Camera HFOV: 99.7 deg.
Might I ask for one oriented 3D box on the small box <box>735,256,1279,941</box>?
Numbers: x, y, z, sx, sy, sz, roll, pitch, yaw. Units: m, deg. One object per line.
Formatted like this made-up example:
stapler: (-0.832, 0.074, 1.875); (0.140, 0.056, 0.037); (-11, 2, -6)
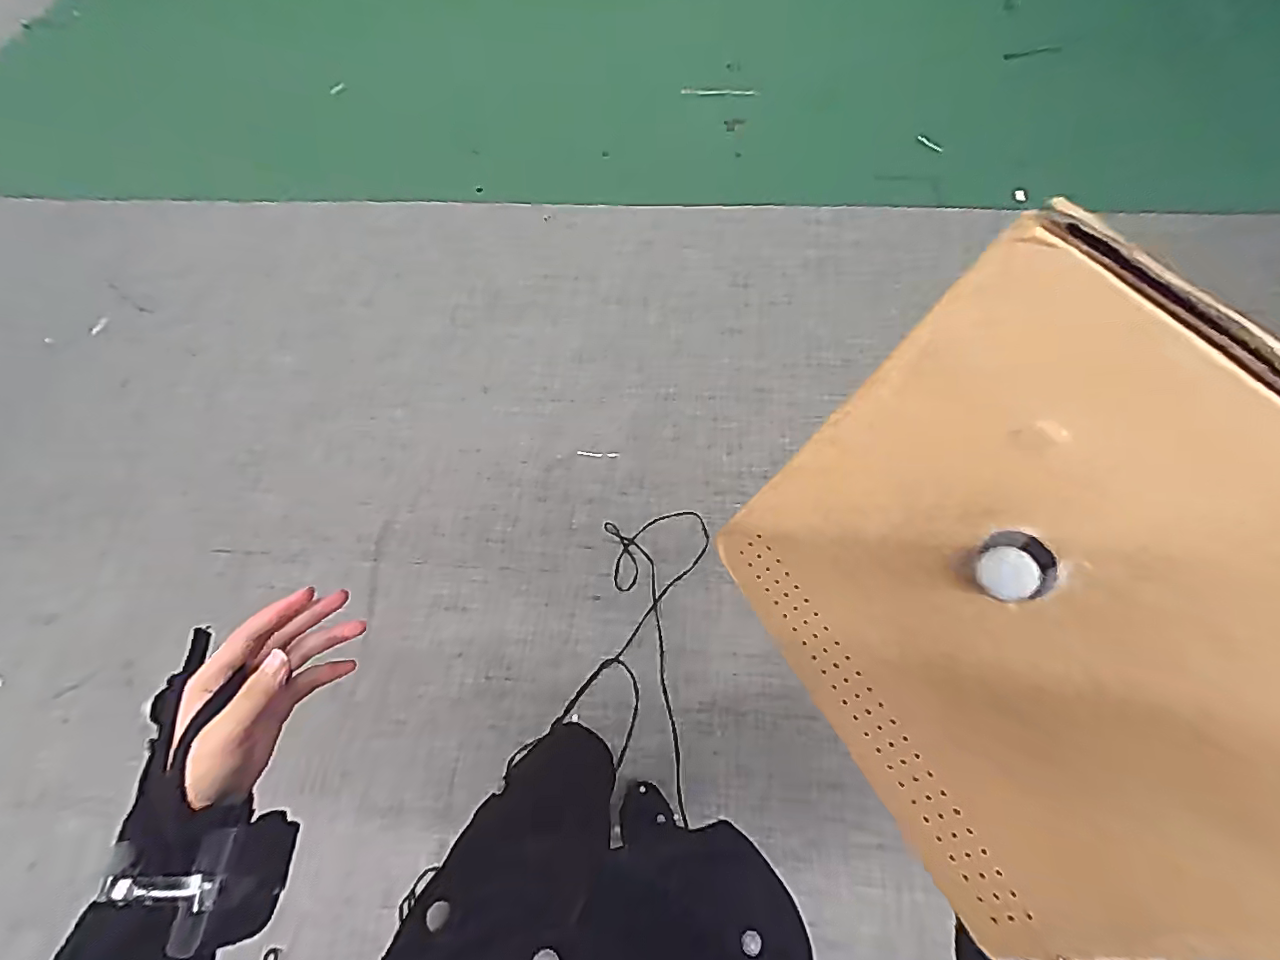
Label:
small box: (0.173, 0.040, 0.221); (0.168, 0.176, 0.179); (-13, 59, -39)
